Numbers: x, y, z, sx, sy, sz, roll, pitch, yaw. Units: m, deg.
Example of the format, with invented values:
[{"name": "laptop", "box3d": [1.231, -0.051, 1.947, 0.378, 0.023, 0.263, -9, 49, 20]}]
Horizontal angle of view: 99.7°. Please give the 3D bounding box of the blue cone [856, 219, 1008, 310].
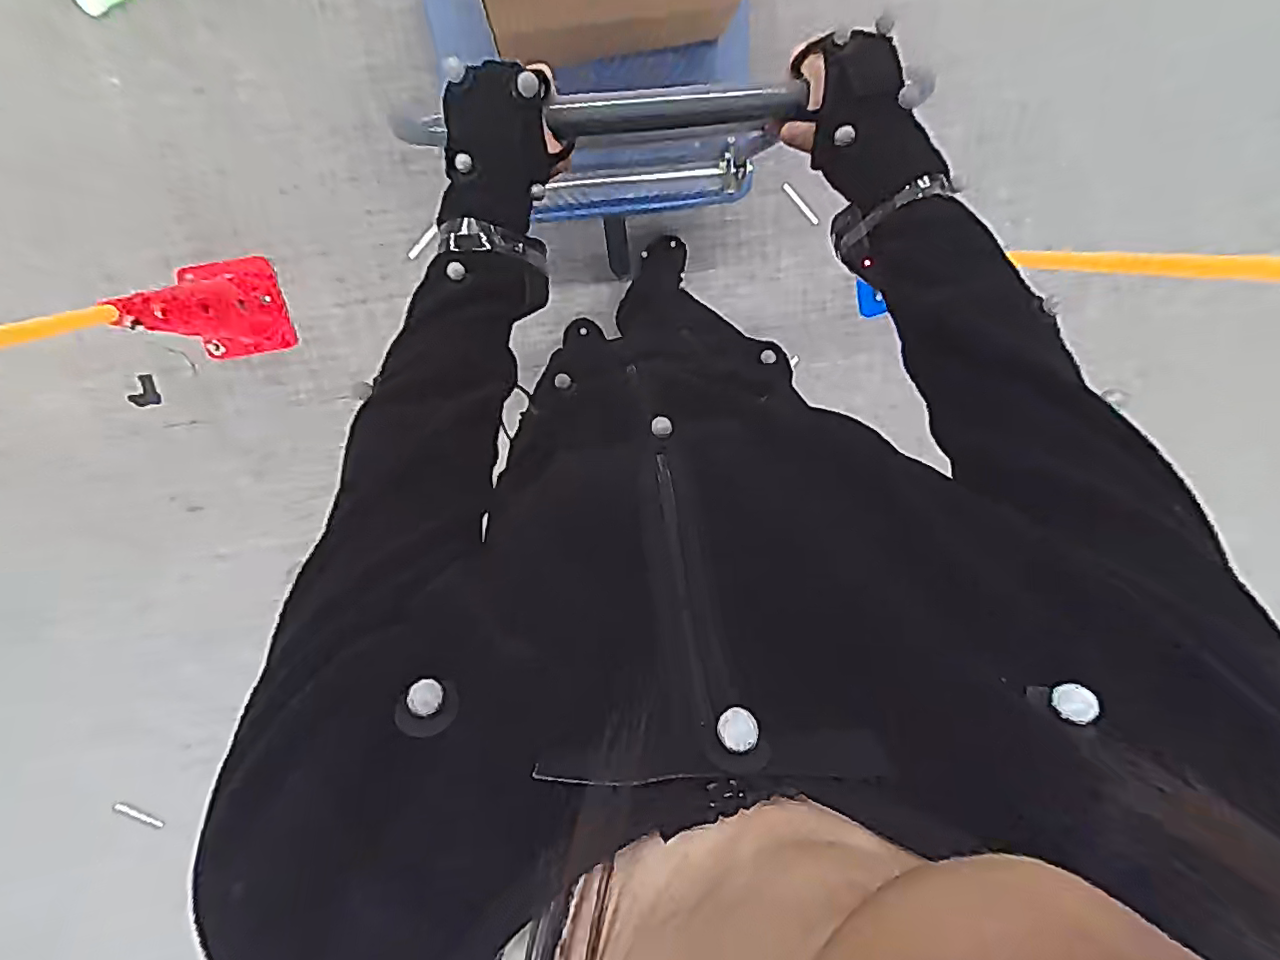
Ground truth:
[{"name": "blue cone", "box3d": [0.656, -0.485, 1.191, 0.193, 0.380, 0.192, -13, 108, -3]}]
